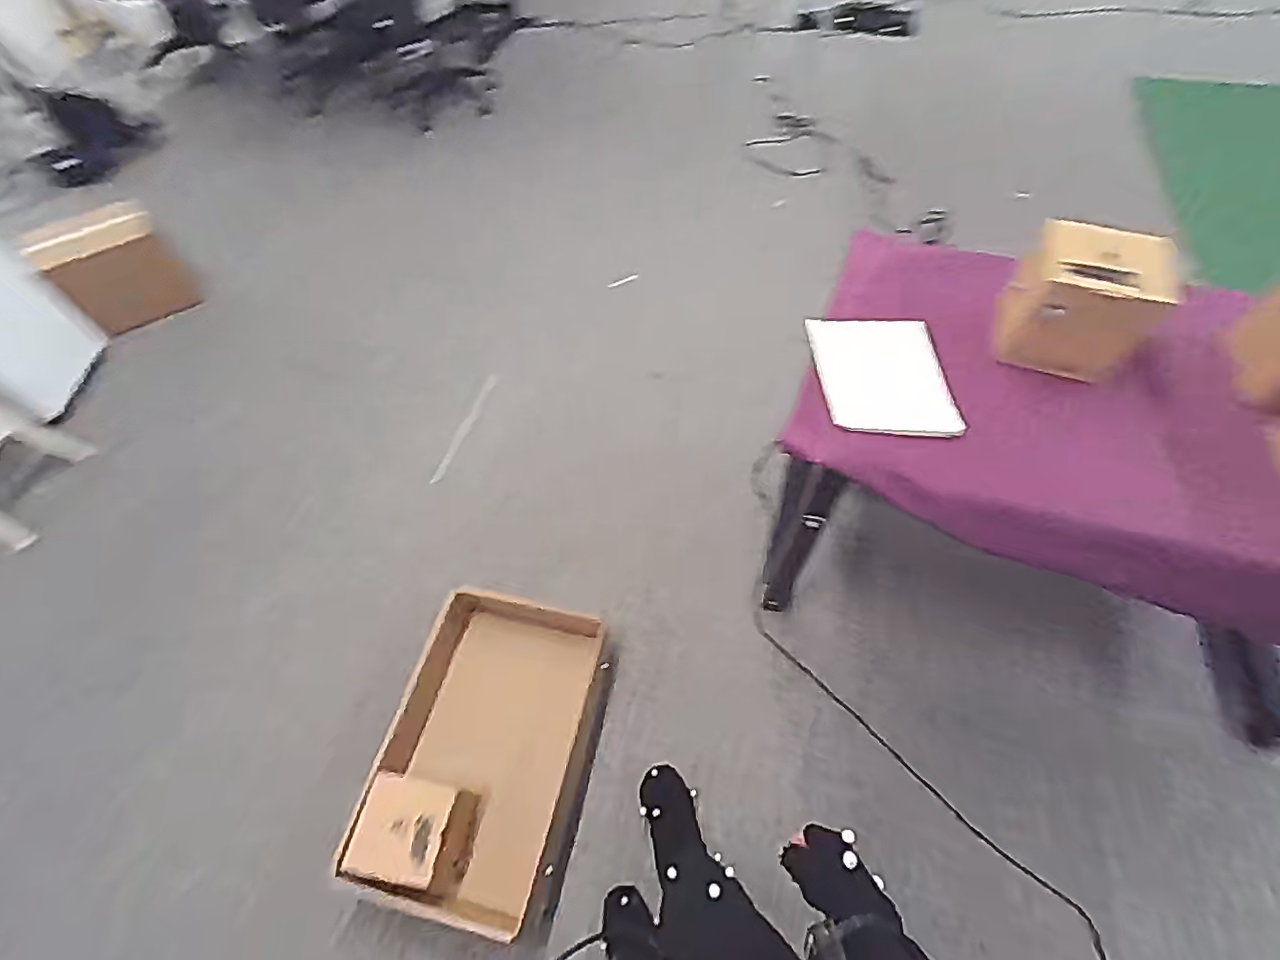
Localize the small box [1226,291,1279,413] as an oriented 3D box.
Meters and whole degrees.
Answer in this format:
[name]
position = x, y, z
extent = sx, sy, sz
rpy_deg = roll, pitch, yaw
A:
[small box]
position = 1.078, -0.212, 0.836
extent = 0.168, 0.176, 0.179
rpy_deg = 14, 60, 11
